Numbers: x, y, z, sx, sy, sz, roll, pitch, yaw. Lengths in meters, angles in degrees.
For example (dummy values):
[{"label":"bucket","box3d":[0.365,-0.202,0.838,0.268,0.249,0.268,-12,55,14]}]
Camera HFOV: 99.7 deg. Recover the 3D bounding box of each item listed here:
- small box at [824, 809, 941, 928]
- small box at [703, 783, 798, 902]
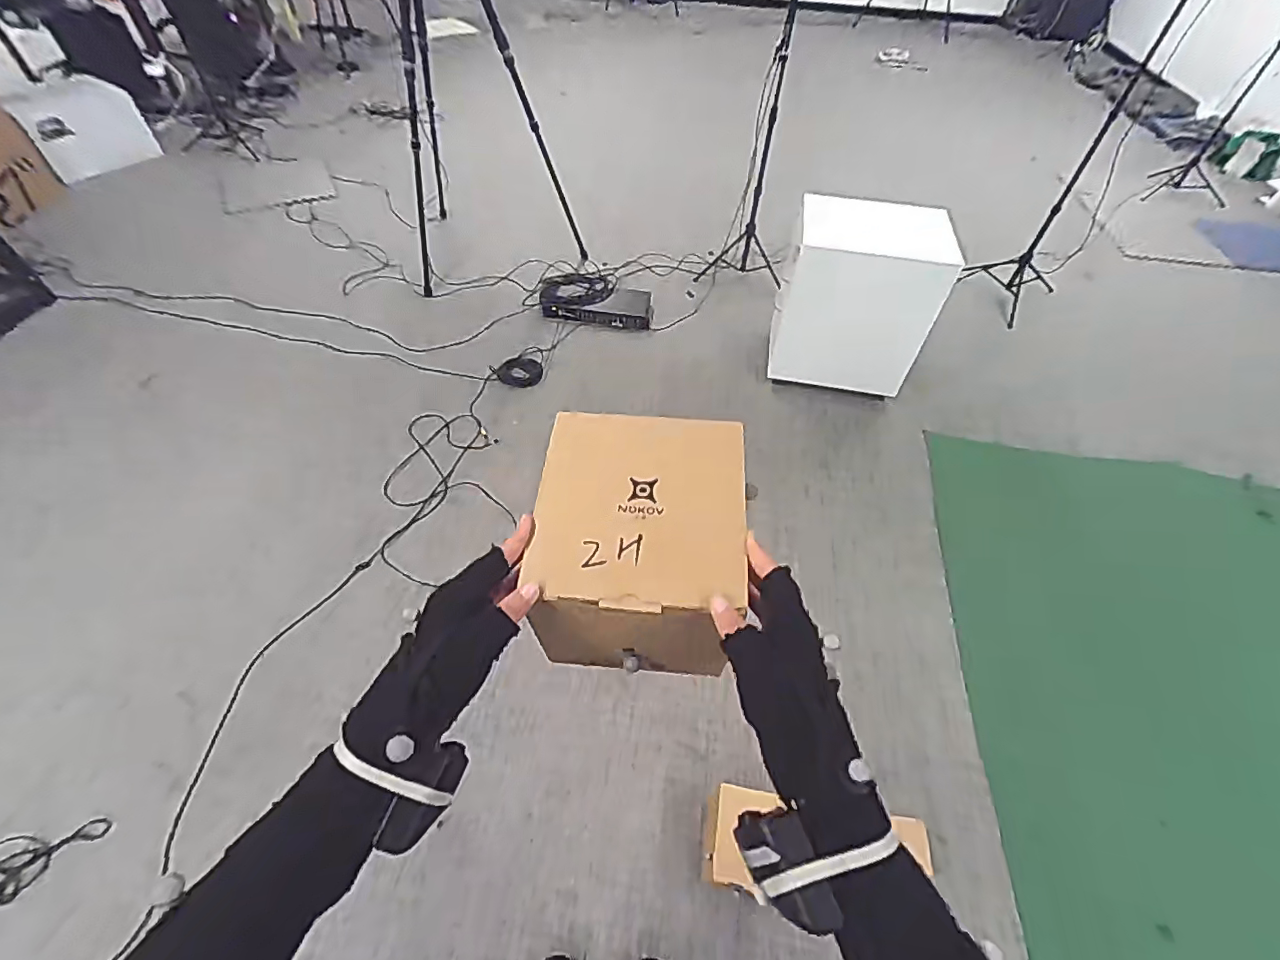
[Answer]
[{"label":"small box","box3d":[0.498,0.818,1.138,0.168,0.176,0.179,7,51,3]},{"label":"small box","box3d":[0.233,0.778,1.158,0.168,0.176,0.179,10,52,5]}]
